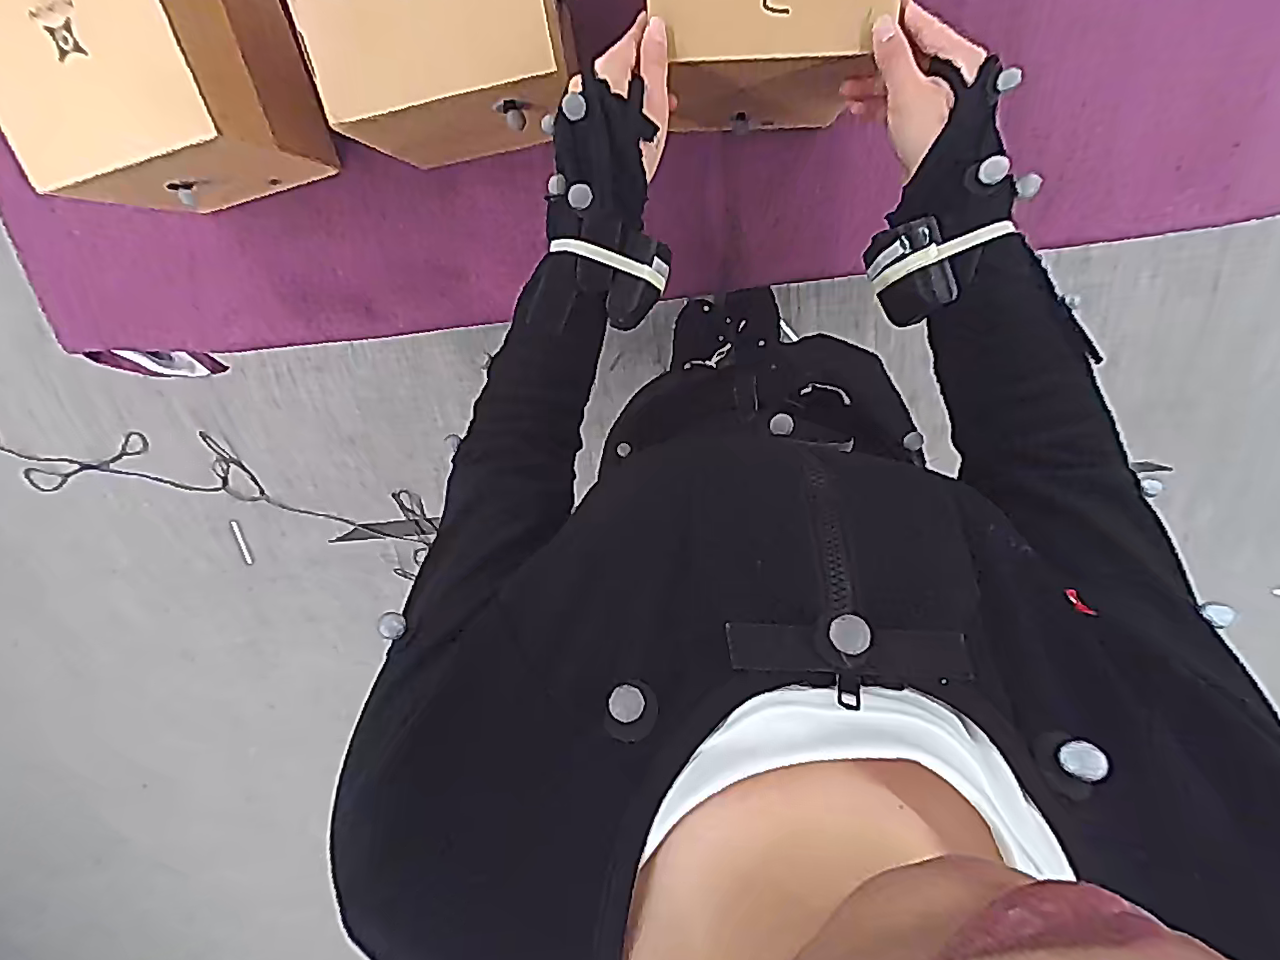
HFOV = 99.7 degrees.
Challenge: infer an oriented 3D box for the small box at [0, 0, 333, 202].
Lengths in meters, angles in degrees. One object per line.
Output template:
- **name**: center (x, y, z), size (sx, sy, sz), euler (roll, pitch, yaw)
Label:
- **small box**: center (-0.405, -0.351, 0.458), size (0.168, 0.176, 0.179), euler (-12, 109, 8)

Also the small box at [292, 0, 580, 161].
- **small box**: center (-0.151, -0.377, 0.431), size (0.179, 0.176, 0.168), euler (-10, 109, 6)
